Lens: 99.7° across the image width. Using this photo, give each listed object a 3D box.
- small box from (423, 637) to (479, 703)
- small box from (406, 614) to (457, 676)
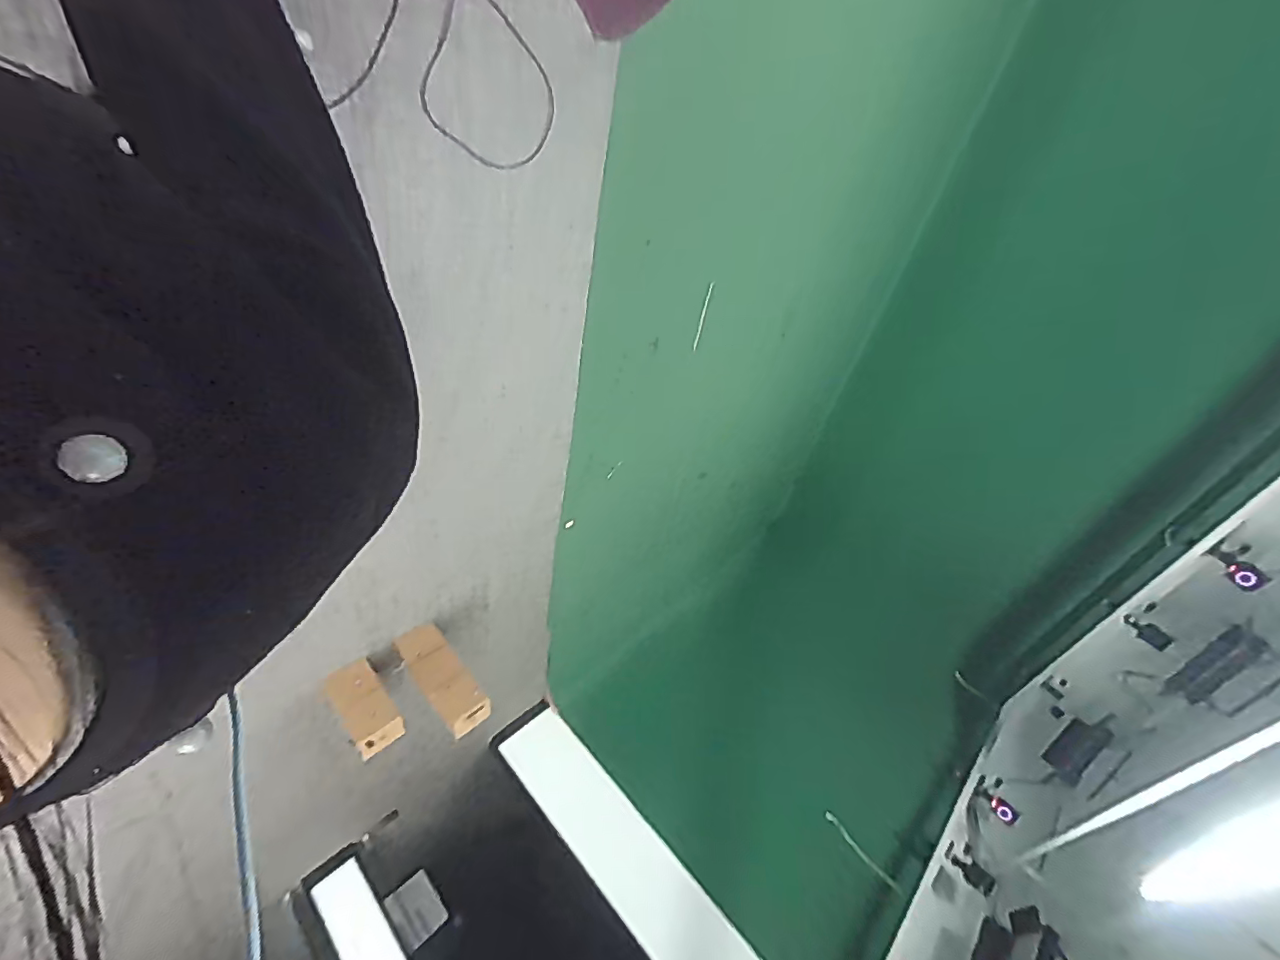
[{"bbox_3d":[-0.843,0.839,2.399,0.179,0.176,0.168,-31,145,-36],"label":"small box"},{"bbox_3d":[-0.955,0.758,2.485,0.179,0.176,0.168,-30,145,-35],"label":"small box"}]
